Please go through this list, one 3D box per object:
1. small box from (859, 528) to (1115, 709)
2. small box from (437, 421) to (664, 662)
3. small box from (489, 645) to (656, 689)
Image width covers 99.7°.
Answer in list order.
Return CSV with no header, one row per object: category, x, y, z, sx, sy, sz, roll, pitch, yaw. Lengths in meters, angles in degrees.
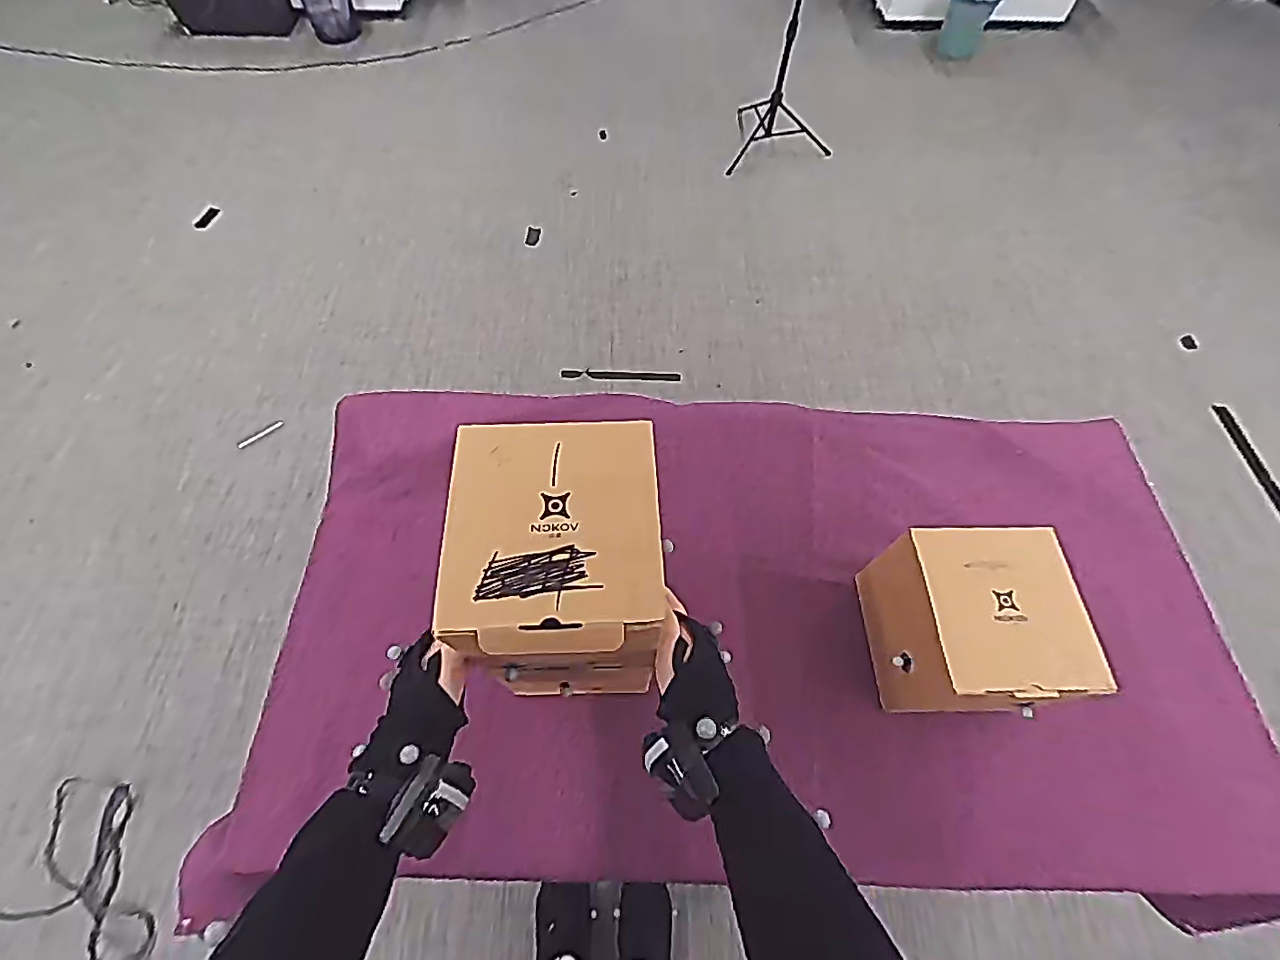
small box,0.379,0.168,0.631,0.168,0.176,0.179,1,62,-2
small box,-0.066,0.065,0.490,0.168,0.176,0.179,-1,62,-3
small box,-0.070,0.143,0.635,0.168,0.176,0.179,0,63,-2
